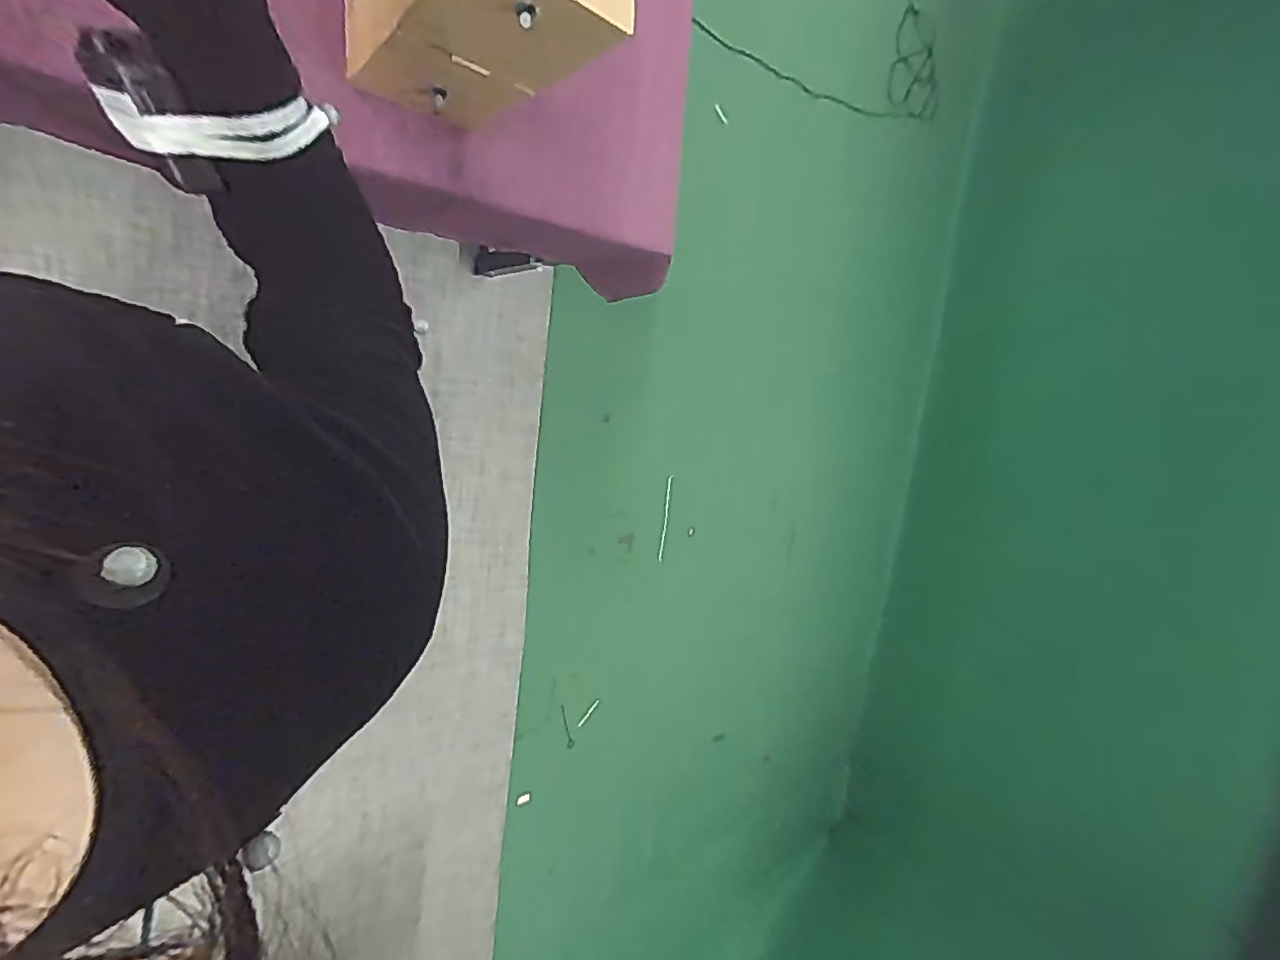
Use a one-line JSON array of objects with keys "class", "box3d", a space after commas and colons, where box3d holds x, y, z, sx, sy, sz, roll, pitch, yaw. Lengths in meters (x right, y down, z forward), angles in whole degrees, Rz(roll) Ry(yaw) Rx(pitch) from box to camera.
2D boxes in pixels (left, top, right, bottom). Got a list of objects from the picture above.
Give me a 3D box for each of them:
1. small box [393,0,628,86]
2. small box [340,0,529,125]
[{"class": "small box", "box3d": [-0.127, -0.524, 0.523, 0.179, 0.176, 0.168, -7, 105, -43]}, {"class": "small box", "box3d": [-0.241, -0.556, 0.638, 0.168, 0.176, 0.179, -6, 106, -43]}]
